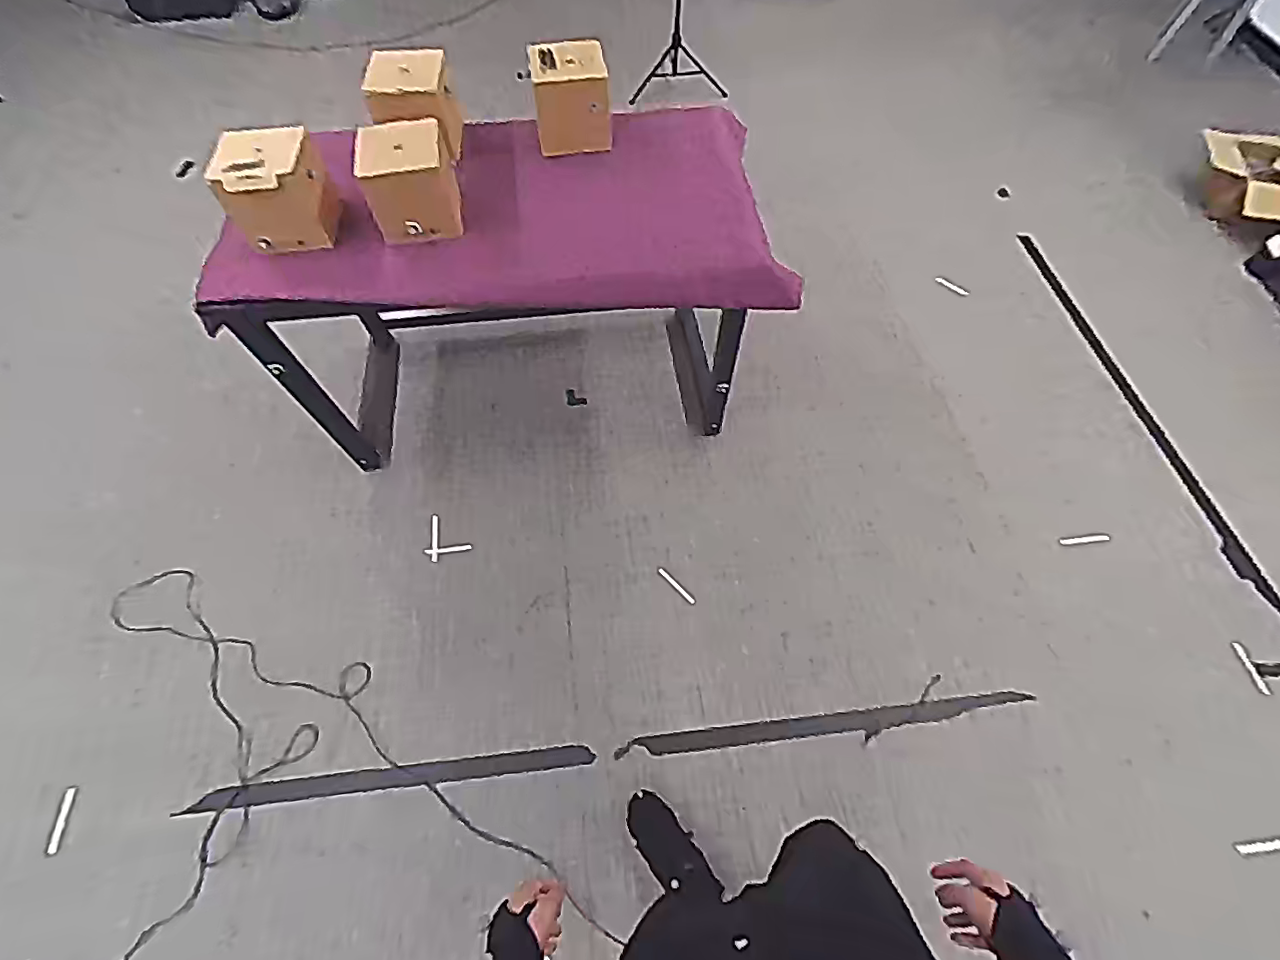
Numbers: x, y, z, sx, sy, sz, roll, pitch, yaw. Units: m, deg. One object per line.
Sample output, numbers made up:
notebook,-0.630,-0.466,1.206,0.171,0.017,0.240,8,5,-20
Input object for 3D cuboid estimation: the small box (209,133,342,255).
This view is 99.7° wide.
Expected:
small box,-0.768,-0.605,1.162,0.168,0.176,0.179,-8,61,-4

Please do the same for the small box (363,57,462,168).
small box,-0.538,-0.883,1.306,0.168,0.176,0.179,-4,63,-3

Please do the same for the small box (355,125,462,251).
small box,-0.495,-0.634,1.179,0.168,0.176,0.179,-11,62,-5
